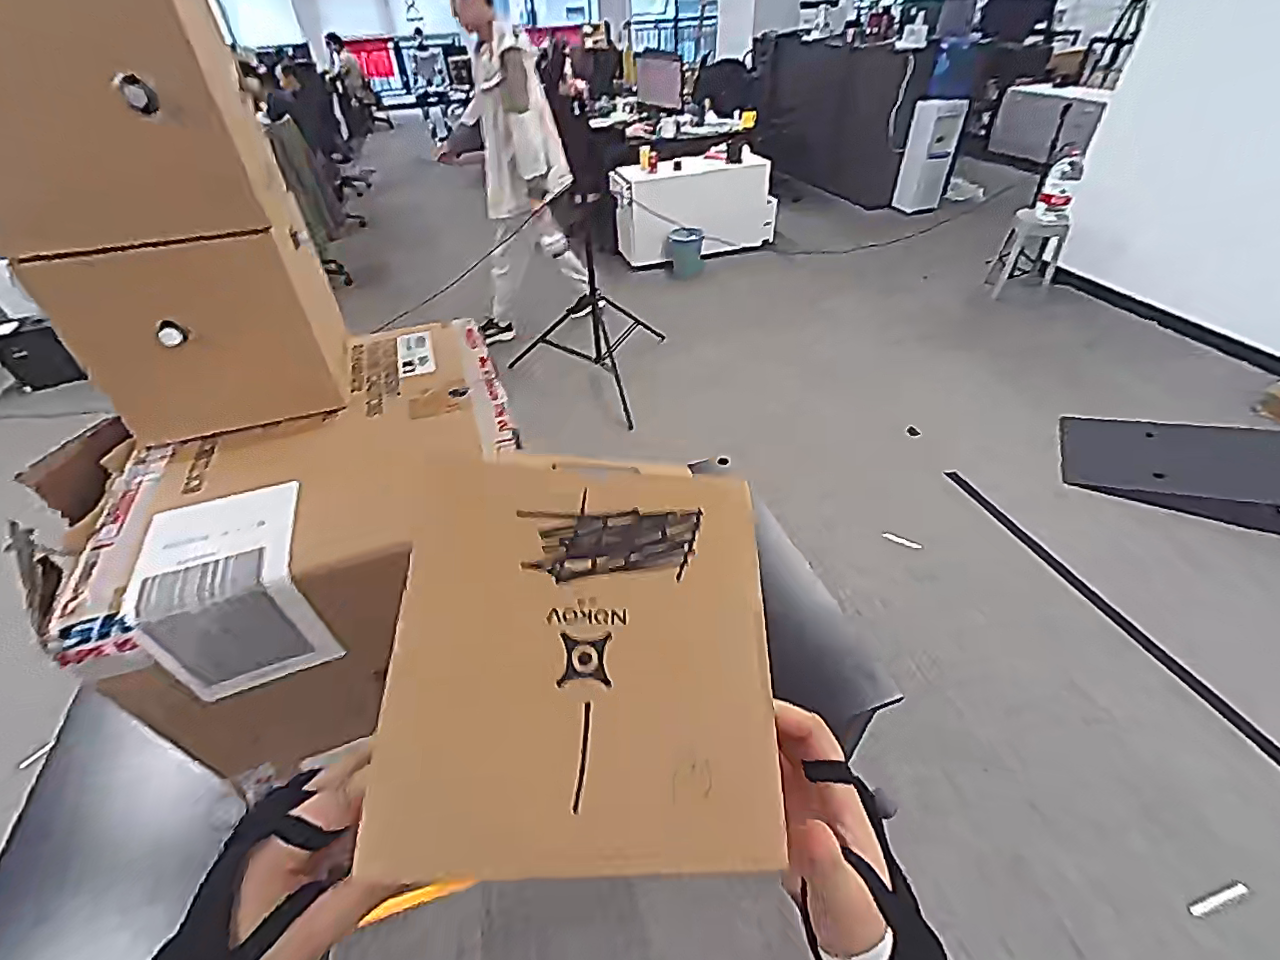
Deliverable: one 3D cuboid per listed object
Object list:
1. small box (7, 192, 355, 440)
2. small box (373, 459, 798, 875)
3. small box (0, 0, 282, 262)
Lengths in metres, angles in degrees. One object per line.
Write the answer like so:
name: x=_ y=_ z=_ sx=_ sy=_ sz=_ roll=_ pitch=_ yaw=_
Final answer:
small box: x=-0.400 y=-0.159 z=0.518 sx=0.179 sy=0.176 sz=0.168 roll=-16 pitch=41 yaw=-15
small box: x=-0.028 y=0.108 z=0.314 sx=0.168 sy=0.176 sz=0.179 roll=4 pitch=63 yaw=-7
small box: x=-0.404 y=-0.283 z=0.411 sx=0.179 sy=0.176 sz=0.168 roll=-18 pitch=41 yaw=-17
